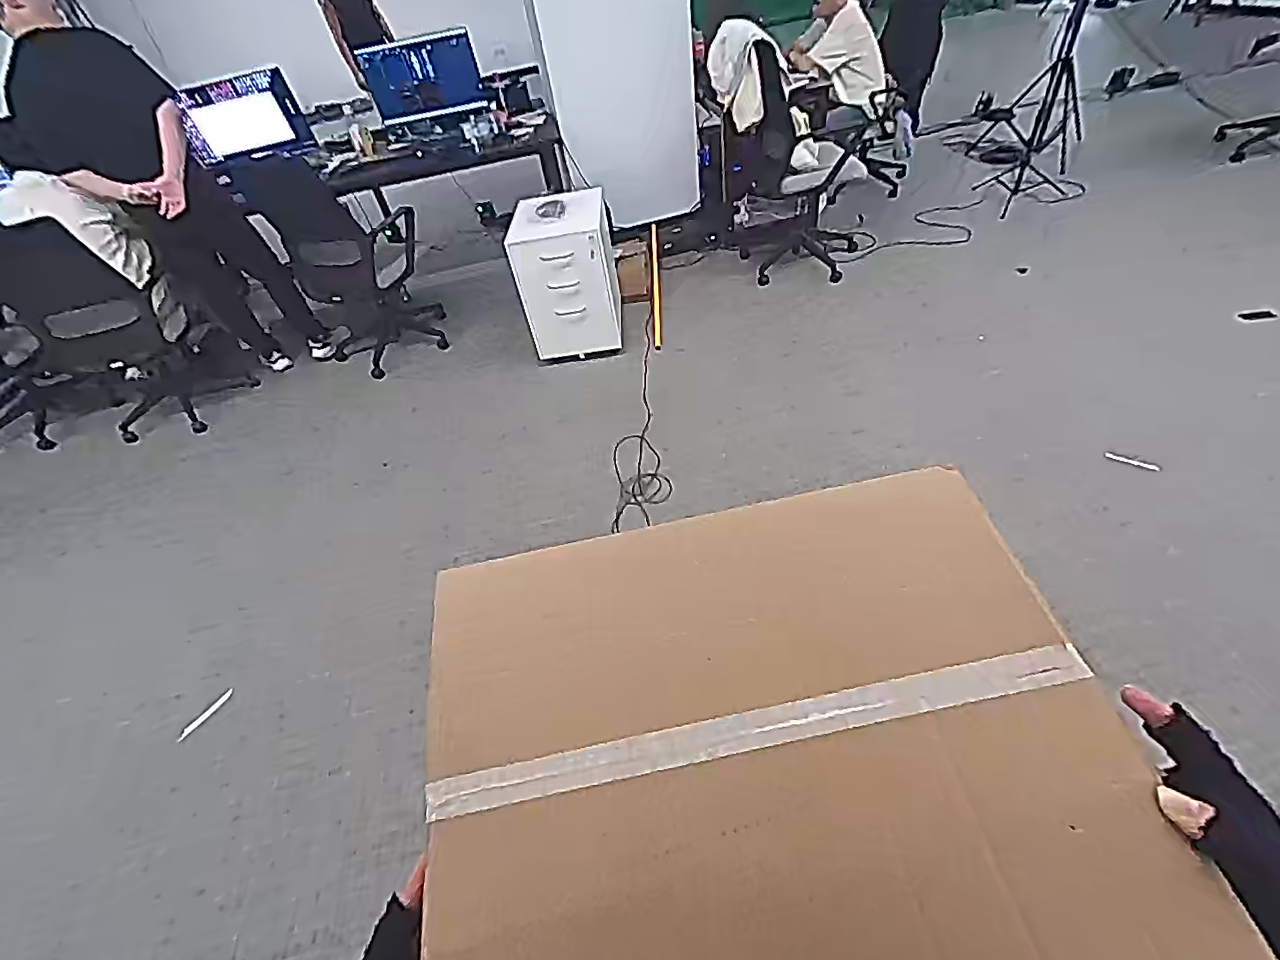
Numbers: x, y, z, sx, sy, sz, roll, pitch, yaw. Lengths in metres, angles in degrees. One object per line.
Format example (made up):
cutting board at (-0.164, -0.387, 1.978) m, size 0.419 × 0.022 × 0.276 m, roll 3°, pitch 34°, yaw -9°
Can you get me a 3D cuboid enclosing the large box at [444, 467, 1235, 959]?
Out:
large box at (0.087, 0.238, 0.466) m, size 0.408 × 0.320 × 0.320 m, roll -12°, pitch 55°, yaw 0°
